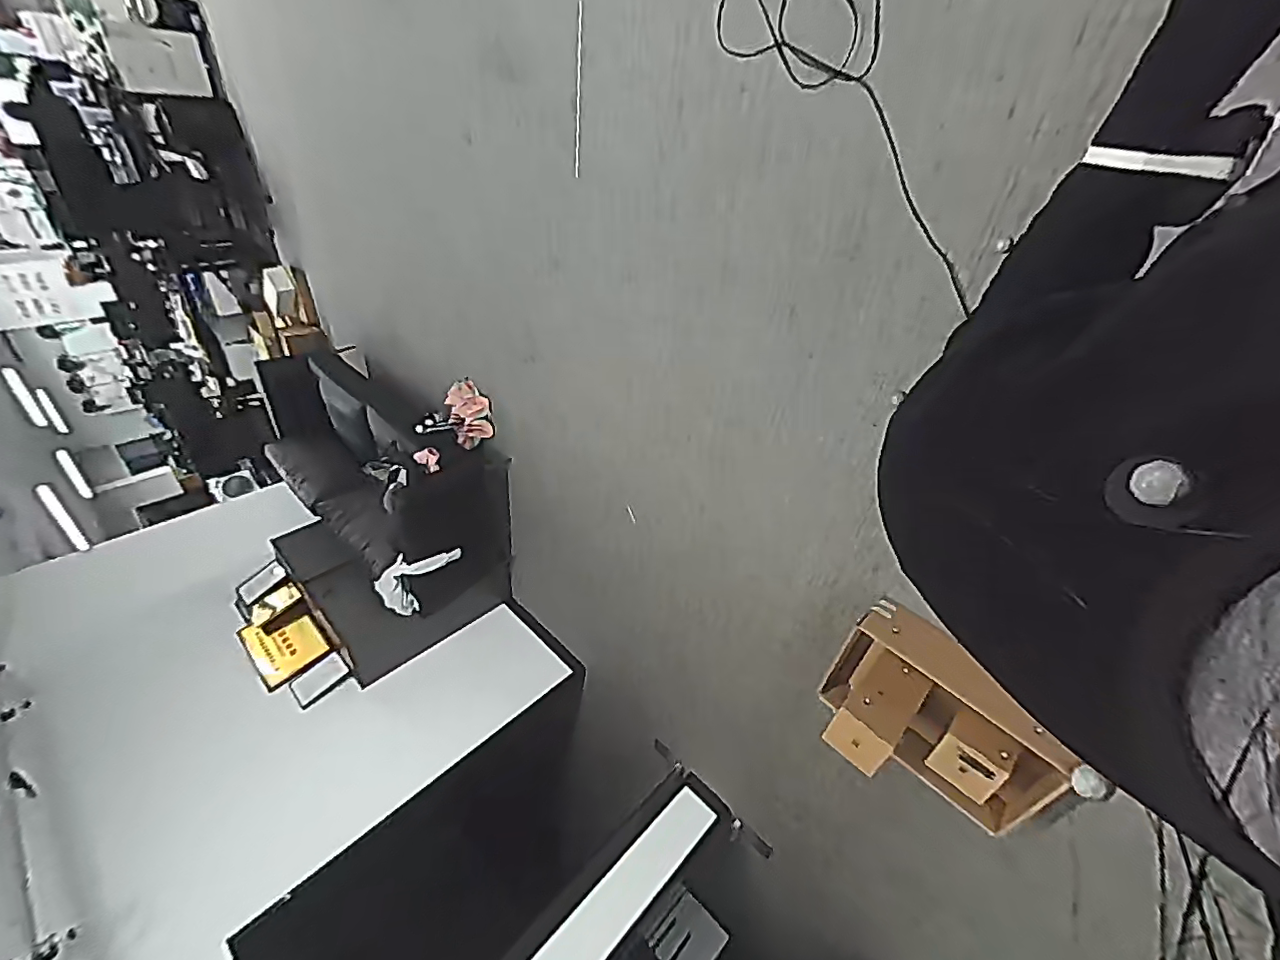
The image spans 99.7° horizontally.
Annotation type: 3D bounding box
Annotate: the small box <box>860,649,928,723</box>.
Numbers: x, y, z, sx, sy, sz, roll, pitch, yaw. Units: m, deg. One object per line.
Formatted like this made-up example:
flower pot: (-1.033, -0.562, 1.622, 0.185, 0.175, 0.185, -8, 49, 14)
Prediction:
small box: (0.780, 0.679, 1.716, 0.168, 0.176, 0.179, 34, 133, 29)

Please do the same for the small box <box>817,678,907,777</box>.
small box: (0.666, 0.732, 1.612, 0.168, 0.176, 0.179, 36, 134, 30)
